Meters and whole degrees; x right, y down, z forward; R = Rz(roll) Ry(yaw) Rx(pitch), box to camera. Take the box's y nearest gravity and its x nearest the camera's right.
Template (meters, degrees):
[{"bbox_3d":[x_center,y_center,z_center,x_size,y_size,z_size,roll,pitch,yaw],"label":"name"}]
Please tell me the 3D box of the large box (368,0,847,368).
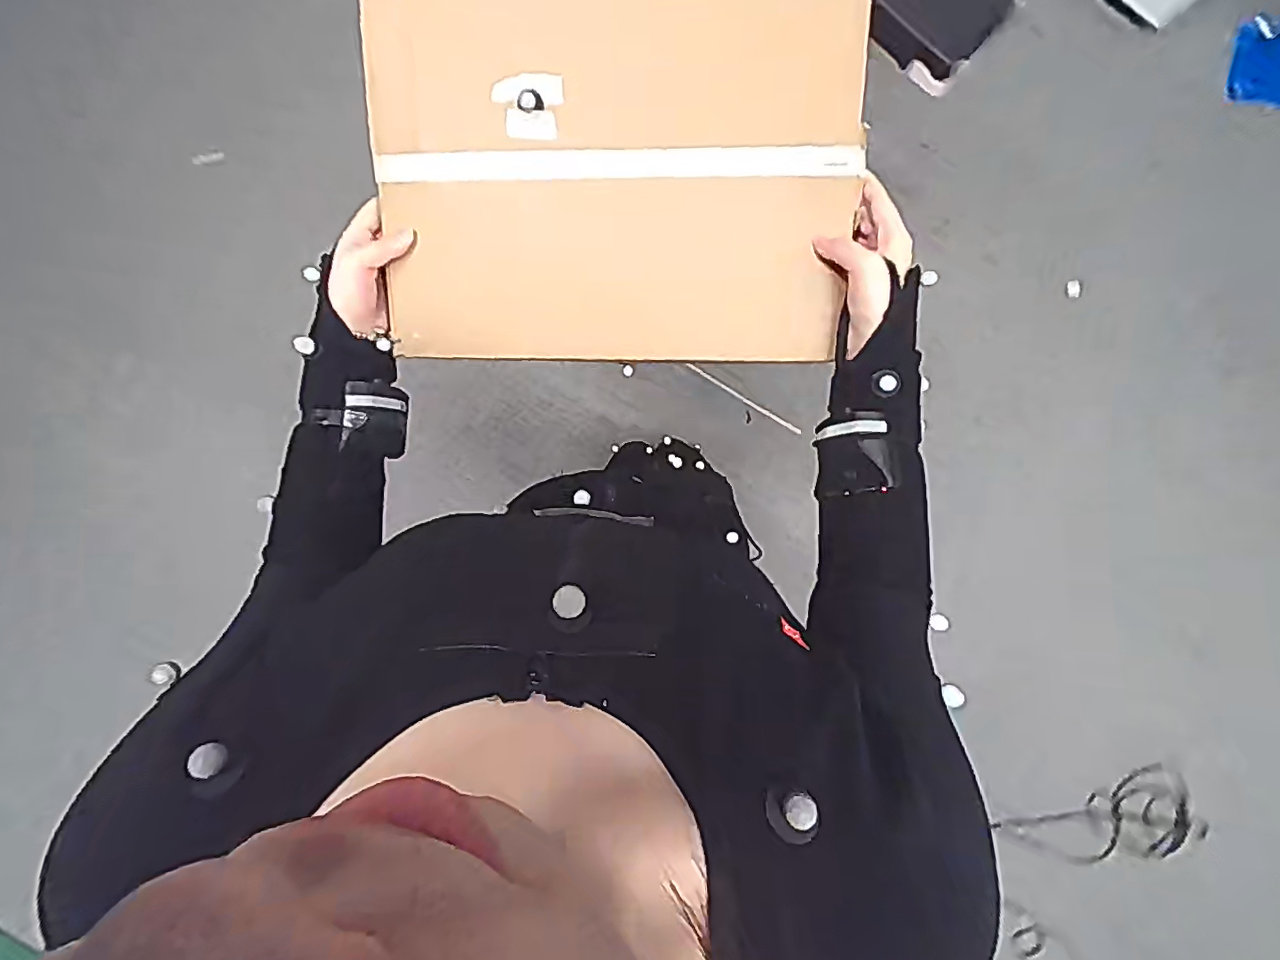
[{"bbox_3d":[-0.016,-0.294,0.614,0.408,0.320,0.320,0,102,5],"label":"large box"}]
